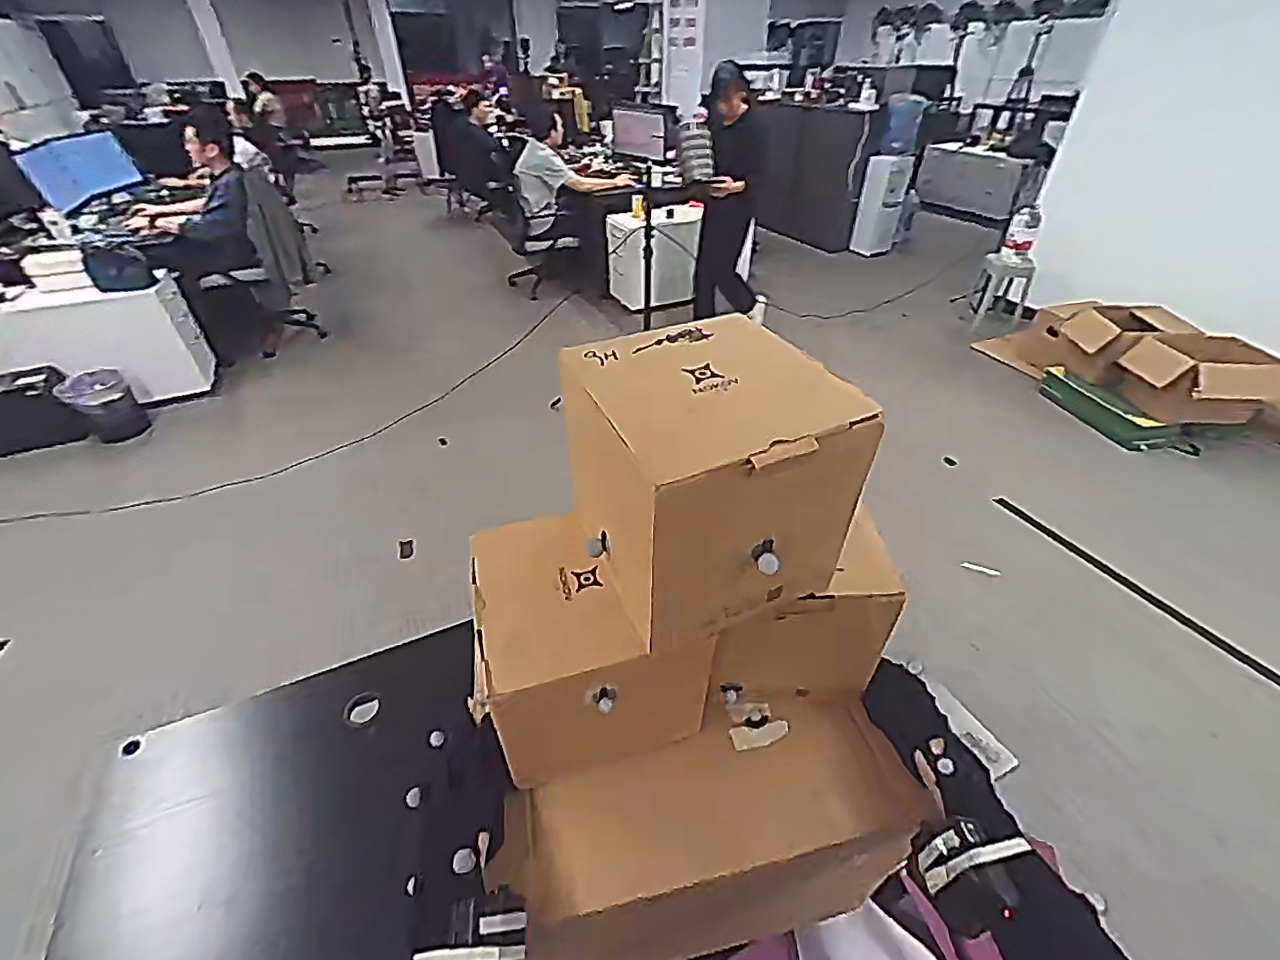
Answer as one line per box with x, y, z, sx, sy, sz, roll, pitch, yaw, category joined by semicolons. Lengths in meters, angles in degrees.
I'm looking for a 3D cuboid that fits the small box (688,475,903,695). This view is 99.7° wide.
0.136;0.101;0.552;0.168;0.176;0.179;0;38;0;small box

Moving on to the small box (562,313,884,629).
0.048;-0.007;0.427;0.168;0.176;0.179;-16;43;-19;small box

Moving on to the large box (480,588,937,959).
0.038;0.336;0.649;0.408;0.320;0.320;-8;41;-11;large box
